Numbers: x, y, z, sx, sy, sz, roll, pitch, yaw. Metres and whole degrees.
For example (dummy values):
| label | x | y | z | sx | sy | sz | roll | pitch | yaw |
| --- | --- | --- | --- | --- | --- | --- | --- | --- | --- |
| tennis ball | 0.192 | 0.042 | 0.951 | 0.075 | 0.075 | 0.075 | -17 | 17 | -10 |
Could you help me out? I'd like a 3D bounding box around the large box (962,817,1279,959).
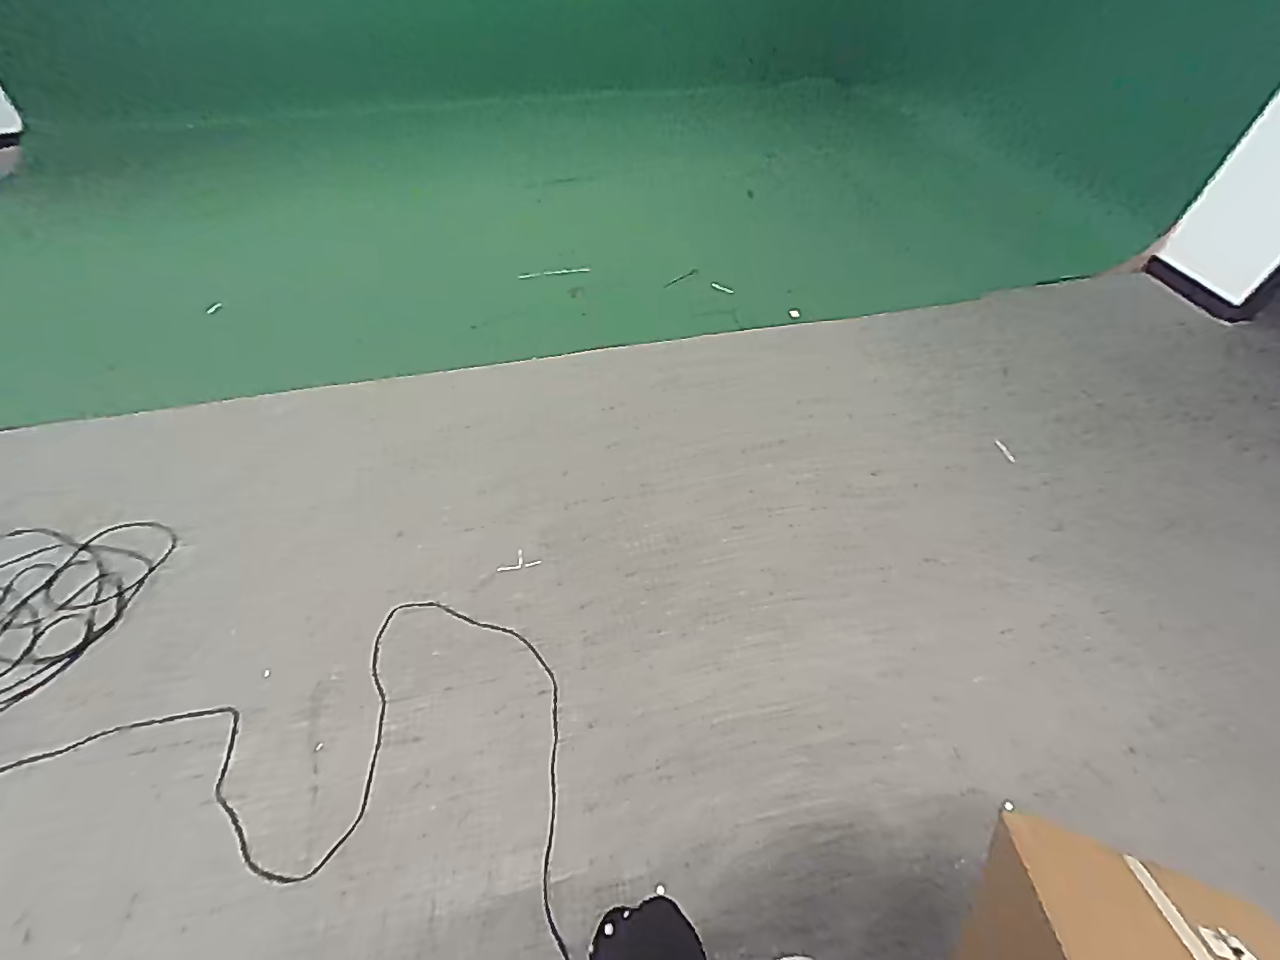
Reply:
| label | x | y | z | sx | sy | sz | roll | pitch | yaw |
| --- | --- | --- | --- | --- | --- | --- | --- | --- | --- |
| large box | 0.580 | 0.685 | 0.588 | 0.320 | 0.408 | 0.320 | 15 | 95 | 20 |
